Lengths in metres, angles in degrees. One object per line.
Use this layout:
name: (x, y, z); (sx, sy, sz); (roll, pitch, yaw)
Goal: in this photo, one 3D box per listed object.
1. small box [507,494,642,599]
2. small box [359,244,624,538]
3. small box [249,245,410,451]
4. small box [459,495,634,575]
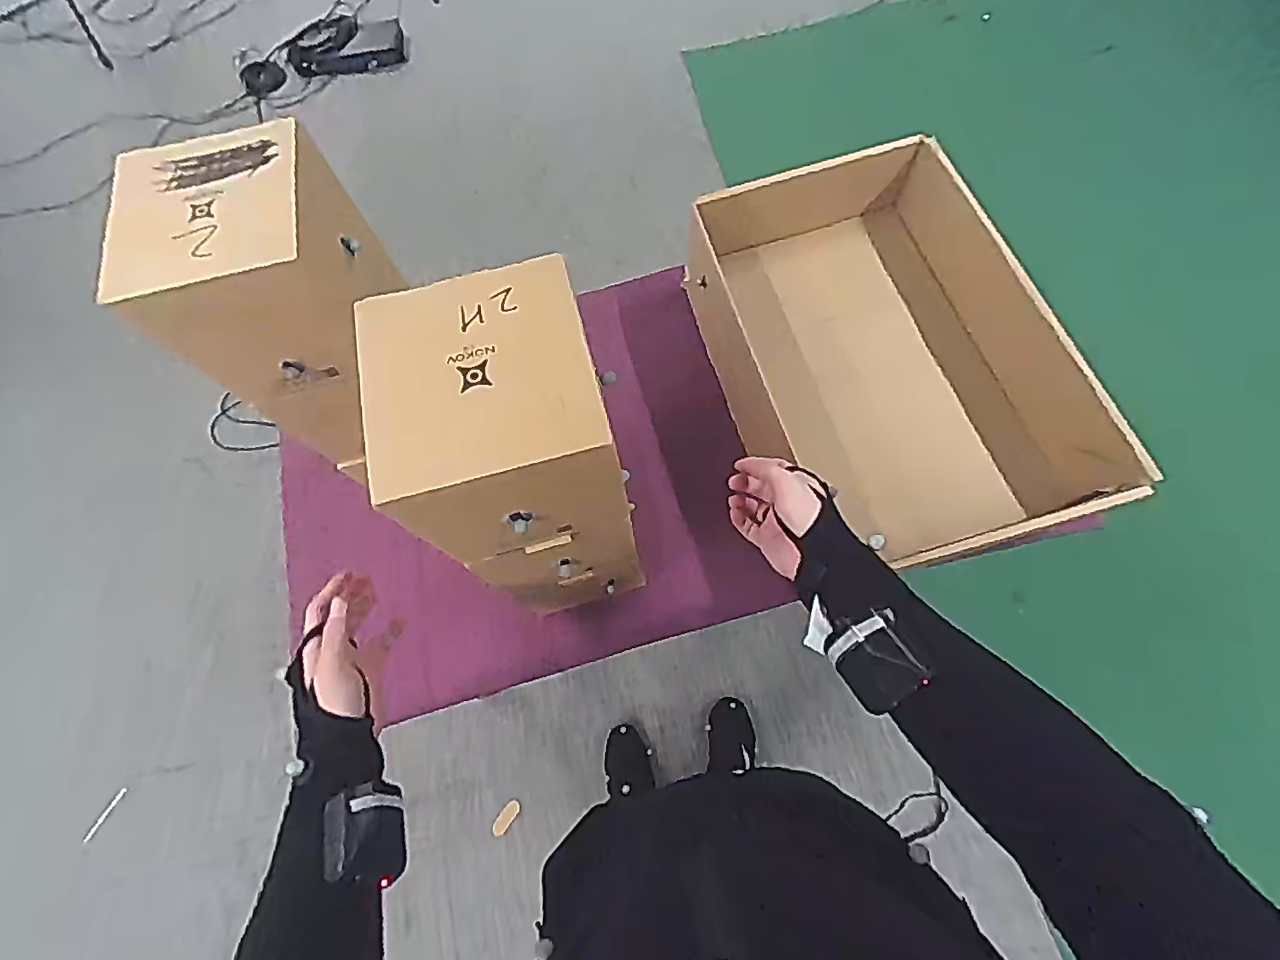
small box: (-0.097, 0.062, 0.768); (0.168, 0.176, 0.179); (-15, 68, -2)
small box: (-0.113, -0.059, 0.462); (0.168, 0.176, 0.179); (-14, 68, -3)
small box: (-0.356, -0.160, 0.693); (0.168, 0.176, 0.179); (-13, 70, -1)
small box: (-0.107, 0.002, 0.617); (0.168, 0.176, 0.179); (-15, 70, -3)
